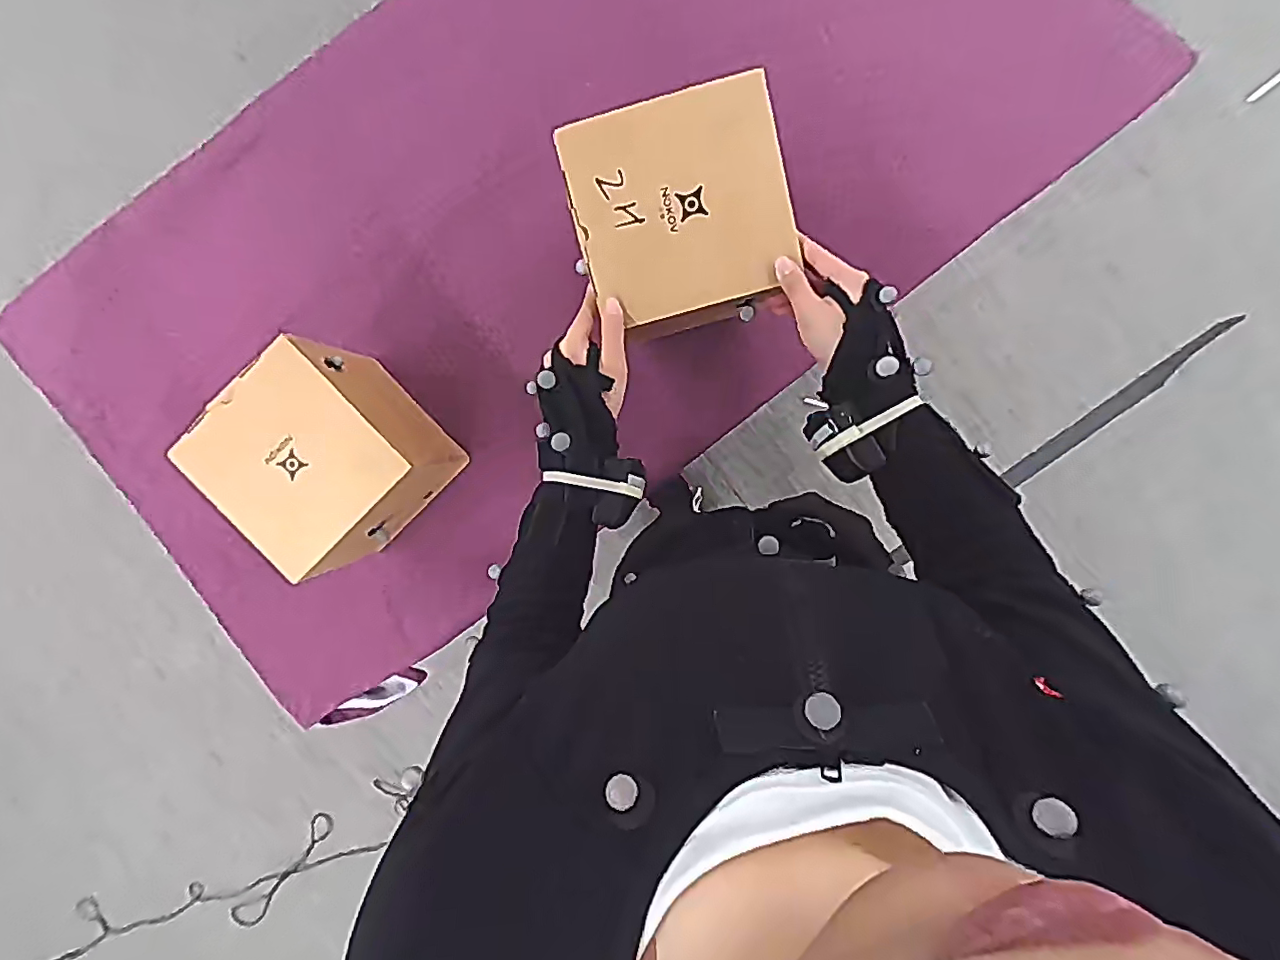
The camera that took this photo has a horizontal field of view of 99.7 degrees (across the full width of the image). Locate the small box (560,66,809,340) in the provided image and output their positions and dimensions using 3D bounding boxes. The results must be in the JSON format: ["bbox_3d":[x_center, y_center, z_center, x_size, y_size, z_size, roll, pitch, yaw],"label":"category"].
[{"bbox_3d":[0.039,-0.239,0.516,0.179,0.176,0.168,-14,99,4],"label":"small box"}]

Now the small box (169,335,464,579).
[{"bbox_3d":[-0.325,-0.026,0.586,0.168,0.176,0.179,-44,91,4],"label":"small box"}]
